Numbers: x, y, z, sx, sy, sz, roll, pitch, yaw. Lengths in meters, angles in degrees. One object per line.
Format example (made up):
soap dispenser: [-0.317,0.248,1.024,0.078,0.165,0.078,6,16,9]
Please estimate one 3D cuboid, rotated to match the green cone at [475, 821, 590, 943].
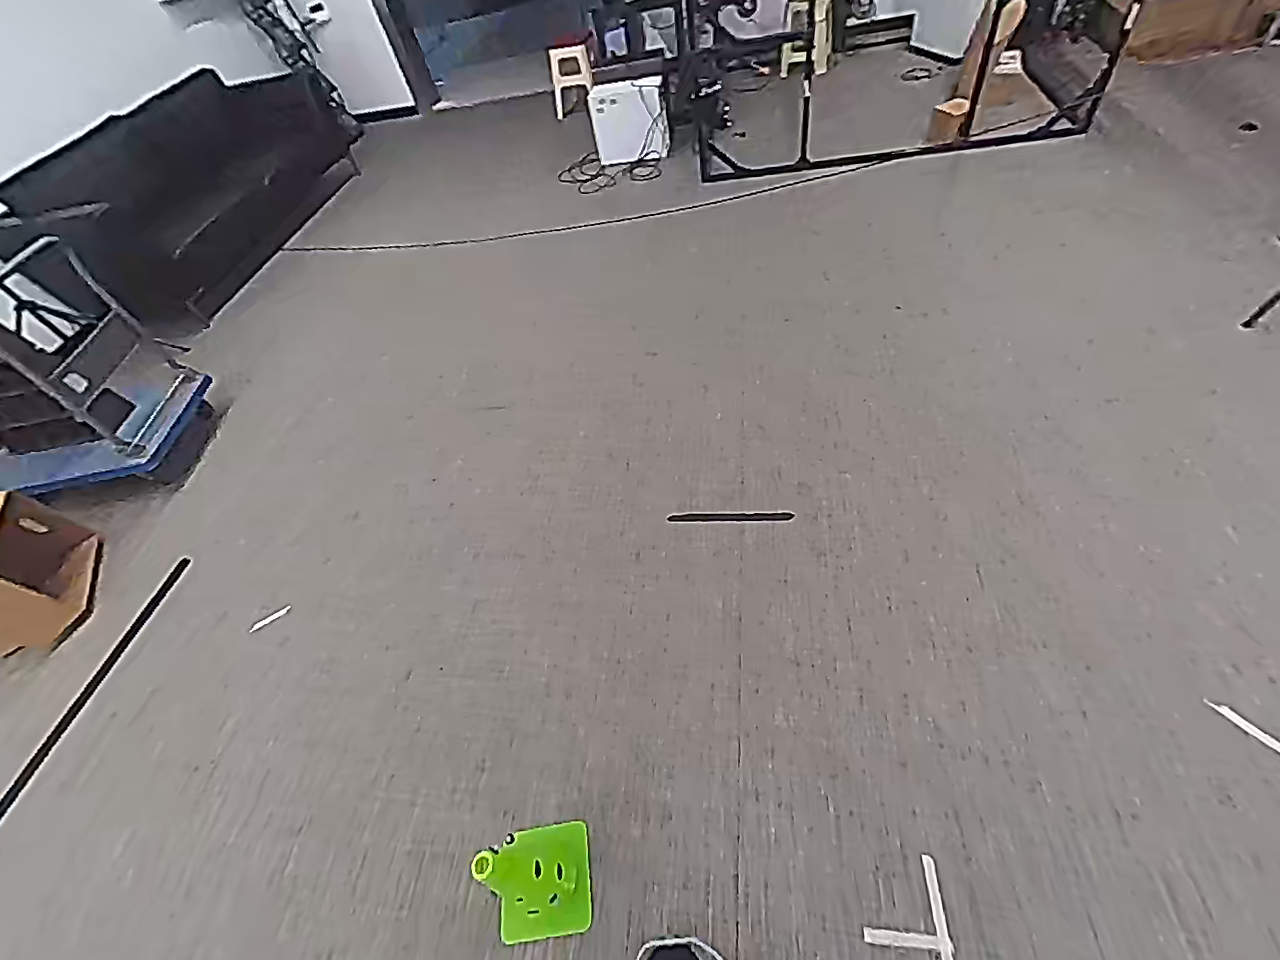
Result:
green cone: [-0.240,0.770,1.057,0.202,0.368,0.200,-12,50,2]
